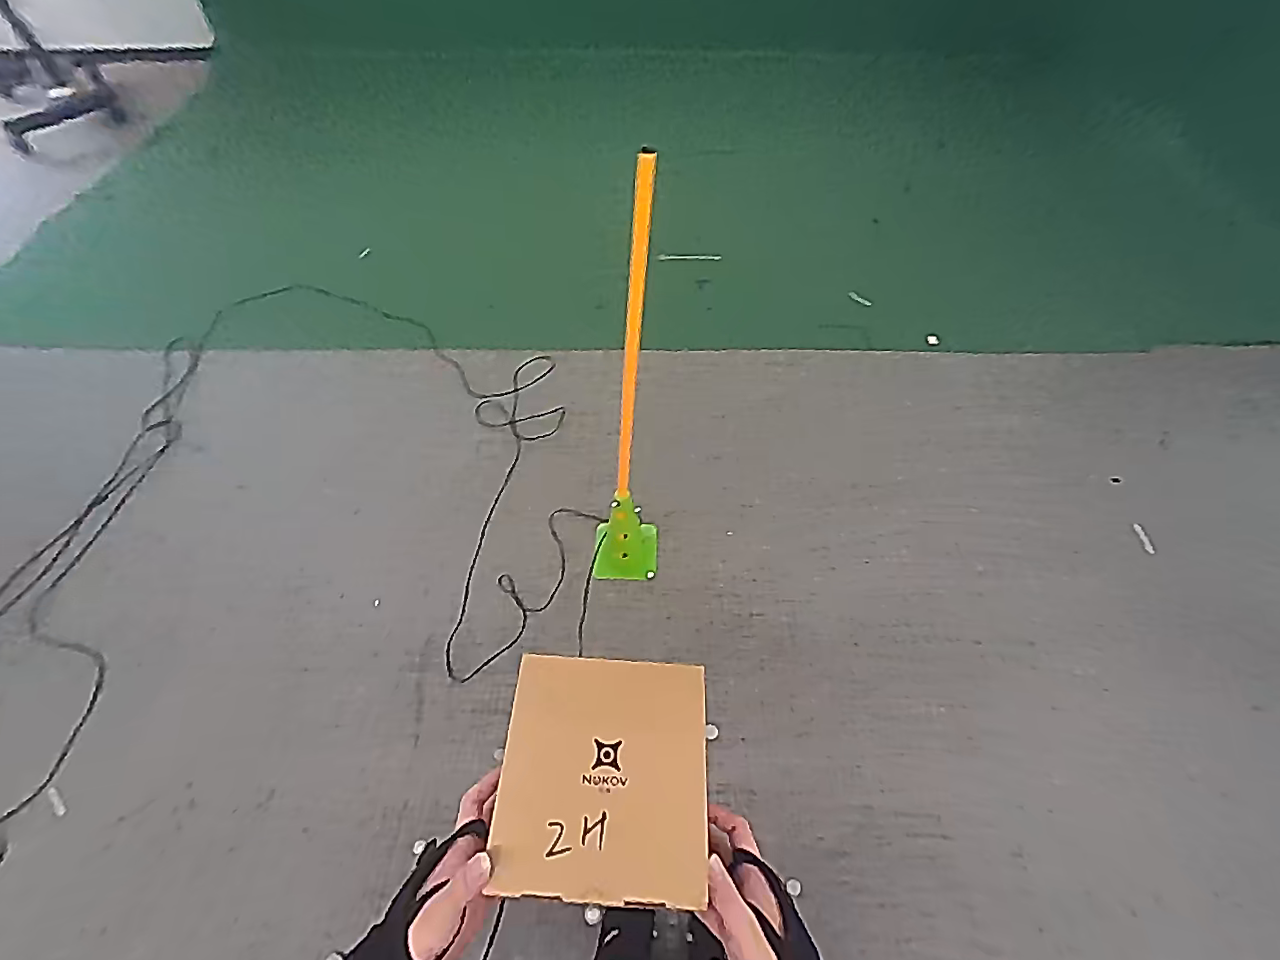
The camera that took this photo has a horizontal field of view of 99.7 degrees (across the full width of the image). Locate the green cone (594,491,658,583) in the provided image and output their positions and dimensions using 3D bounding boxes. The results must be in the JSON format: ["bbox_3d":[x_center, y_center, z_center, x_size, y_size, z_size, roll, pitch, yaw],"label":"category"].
[{"bbox_3d":[-0.047,0.142,1.621,0.202,0.368,0.200,1,55,2],"label":"green cone"}]

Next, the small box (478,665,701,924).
[{"bbox_3d":[-0.037,0.293,0.504,0.168,0.176,0.179,5,53,0],"label":"small box"}]
